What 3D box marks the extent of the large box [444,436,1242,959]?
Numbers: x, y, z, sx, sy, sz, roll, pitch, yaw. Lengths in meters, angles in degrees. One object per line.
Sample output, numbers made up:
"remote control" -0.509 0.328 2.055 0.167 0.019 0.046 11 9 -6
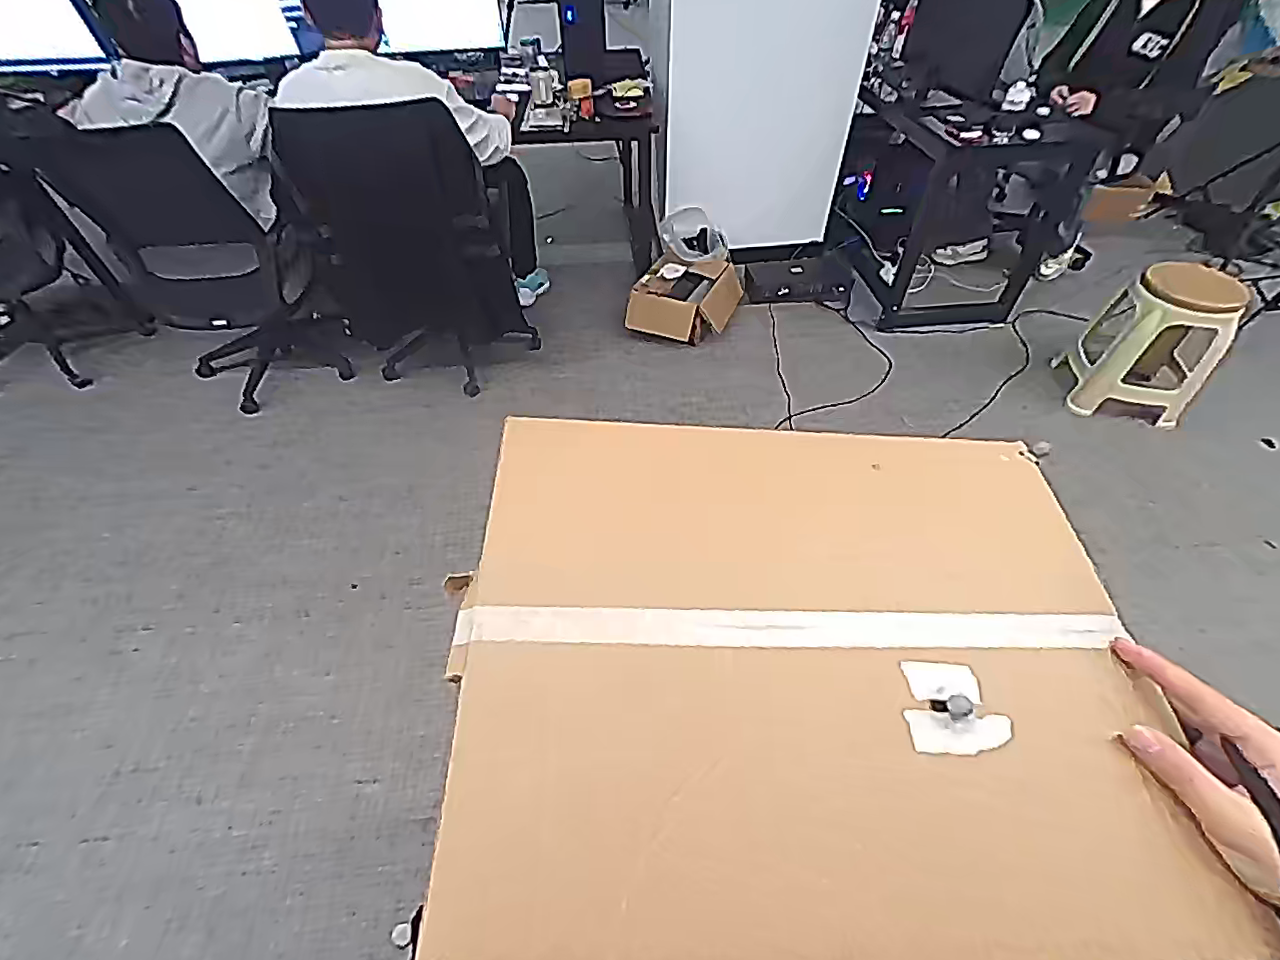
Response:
"large box" 0.088 0.183 0.457 0.408 0.320 0.320 3 56 -6
